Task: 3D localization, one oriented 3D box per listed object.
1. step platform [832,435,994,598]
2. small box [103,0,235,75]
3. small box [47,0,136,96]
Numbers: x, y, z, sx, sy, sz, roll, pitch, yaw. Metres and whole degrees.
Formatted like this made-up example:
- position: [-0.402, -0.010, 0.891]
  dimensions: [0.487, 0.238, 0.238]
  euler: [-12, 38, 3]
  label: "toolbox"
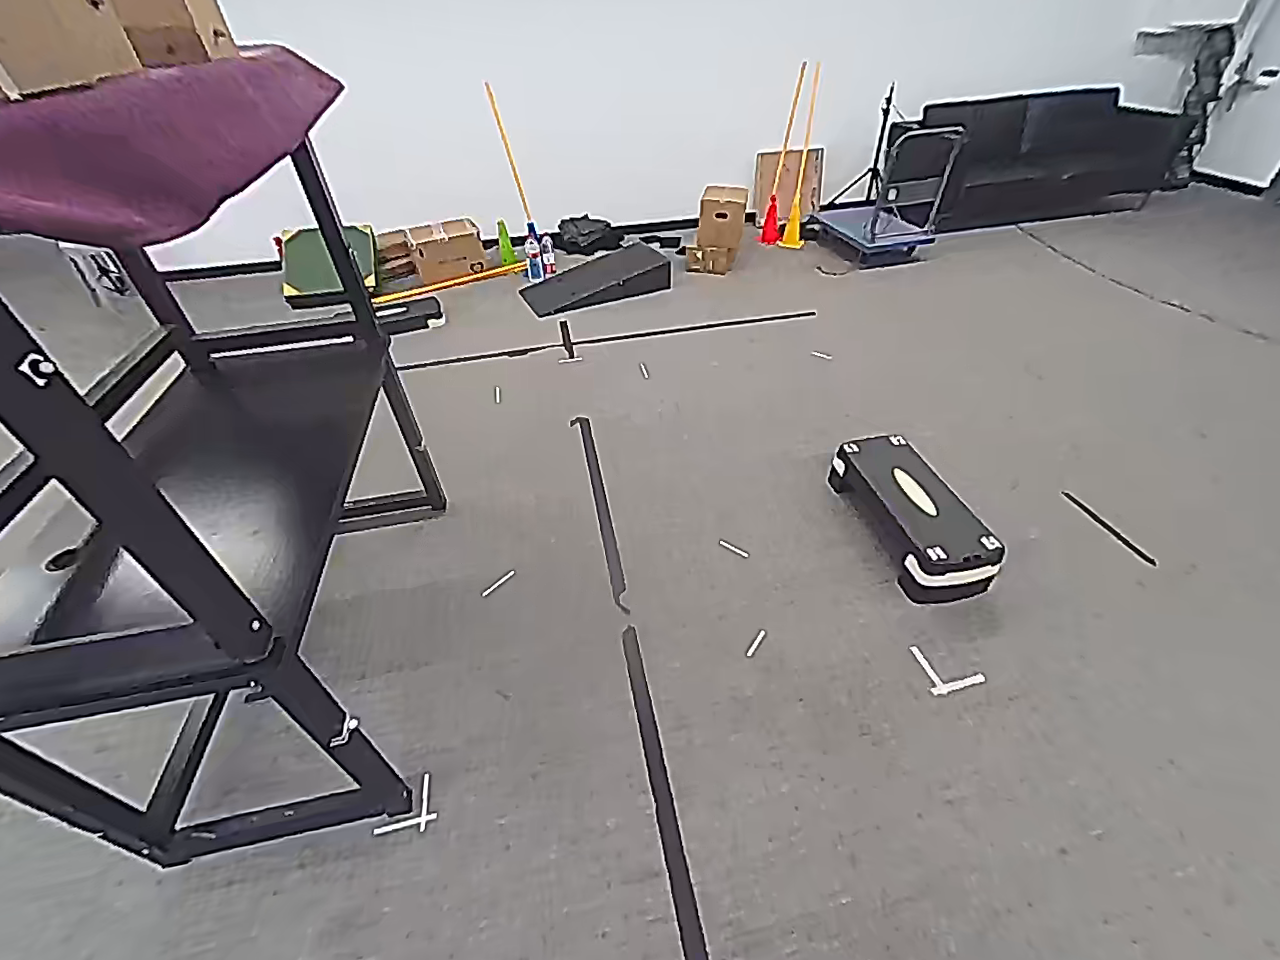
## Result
- position: [0.972, 0.099, 2.001]
  dimensions: [0.286, 0.204, 0.684]
  euler: [-6, 40, -3]
  label: "step platform"
- position: [-0.929, -0.893, 1.043]
  dimensions: [0.168, 0.176, 0.179]
  euler: [-11, 41, -8]
  label: "small box"
- position: [-0.885, -0.655, 0.770]
  dimensions: [0.168, 0.176, 0.179]
  euler: [-9, 42, -6]
  label: "small box"
